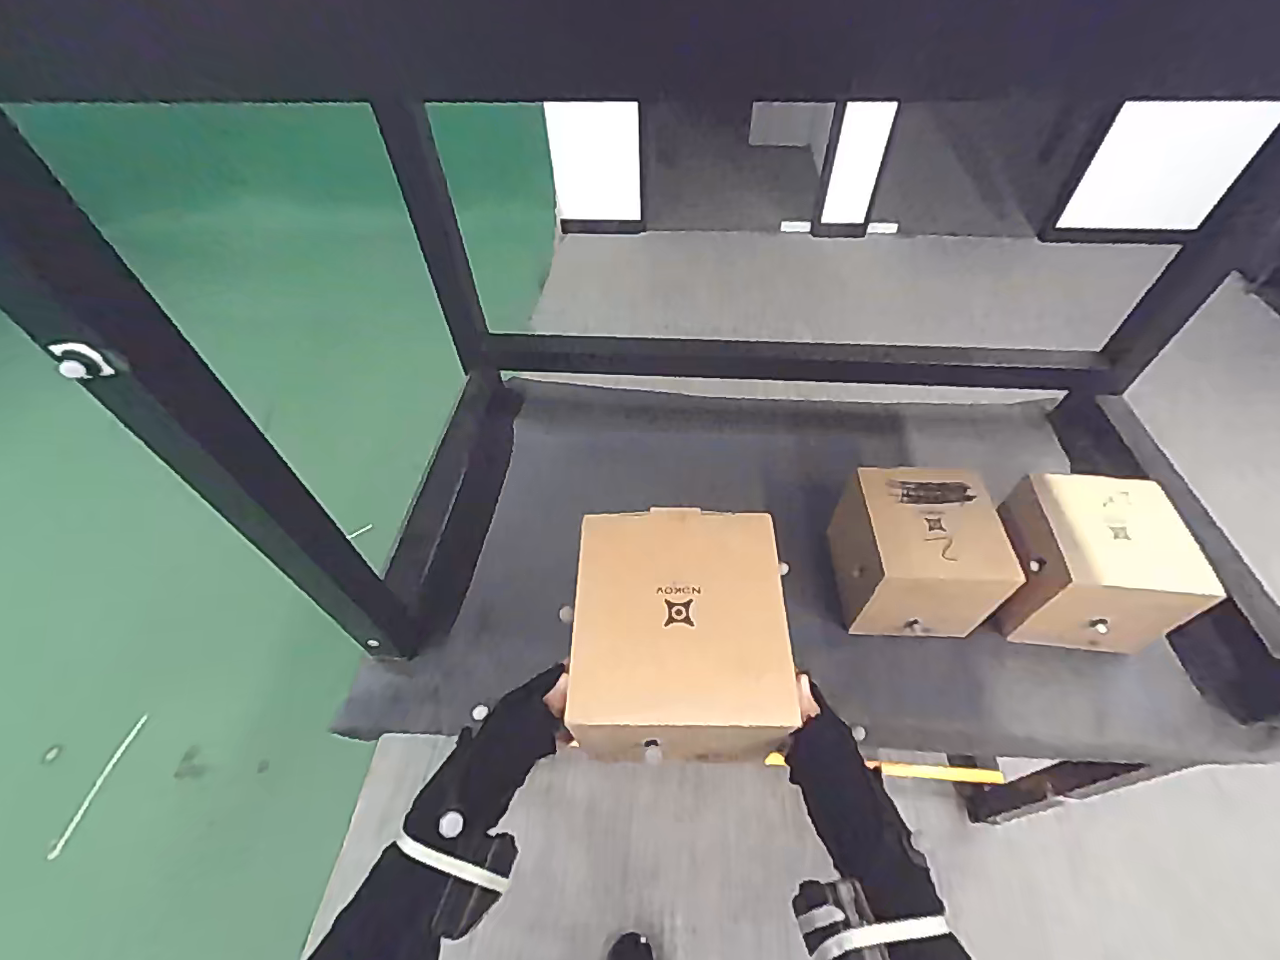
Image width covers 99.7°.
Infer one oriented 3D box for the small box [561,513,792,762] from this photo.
[{"bbox_3d":[0.031,0.147,0.489,0.168,0.176,0.179,0,53,2],"label":"small box"}]
